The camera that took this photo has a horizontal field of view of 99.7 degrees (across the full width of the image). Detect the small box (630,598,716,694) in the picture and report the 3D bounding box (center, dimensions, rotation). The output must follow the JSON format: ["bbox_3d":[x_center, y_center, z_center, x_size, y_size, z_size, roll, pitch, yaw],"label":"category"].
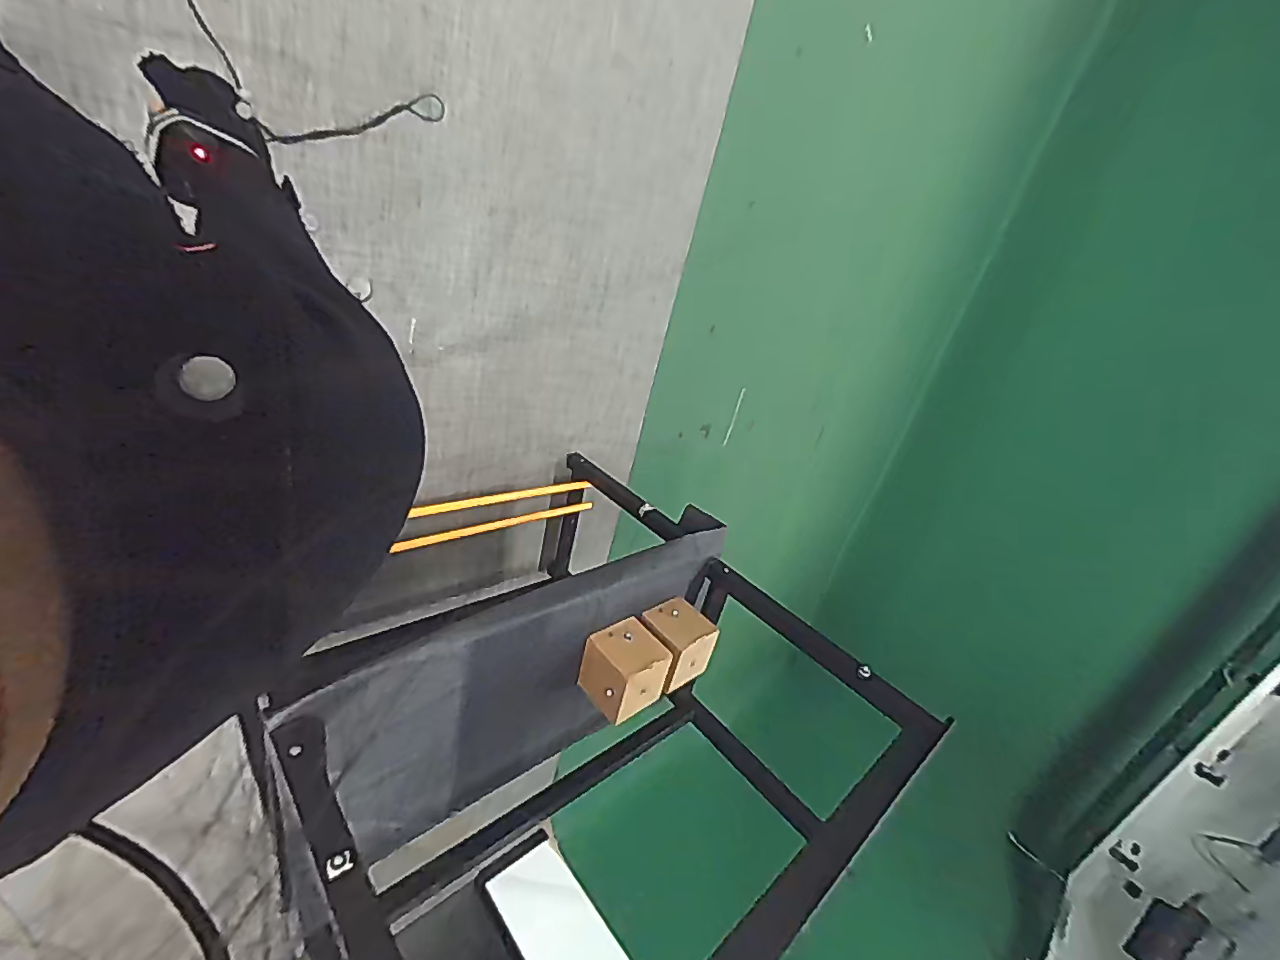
[{"bbox_3d":[0.090,0.478,1.580,0.168,0.176,0.179,-13,127,-42],"label":"small box"}]
